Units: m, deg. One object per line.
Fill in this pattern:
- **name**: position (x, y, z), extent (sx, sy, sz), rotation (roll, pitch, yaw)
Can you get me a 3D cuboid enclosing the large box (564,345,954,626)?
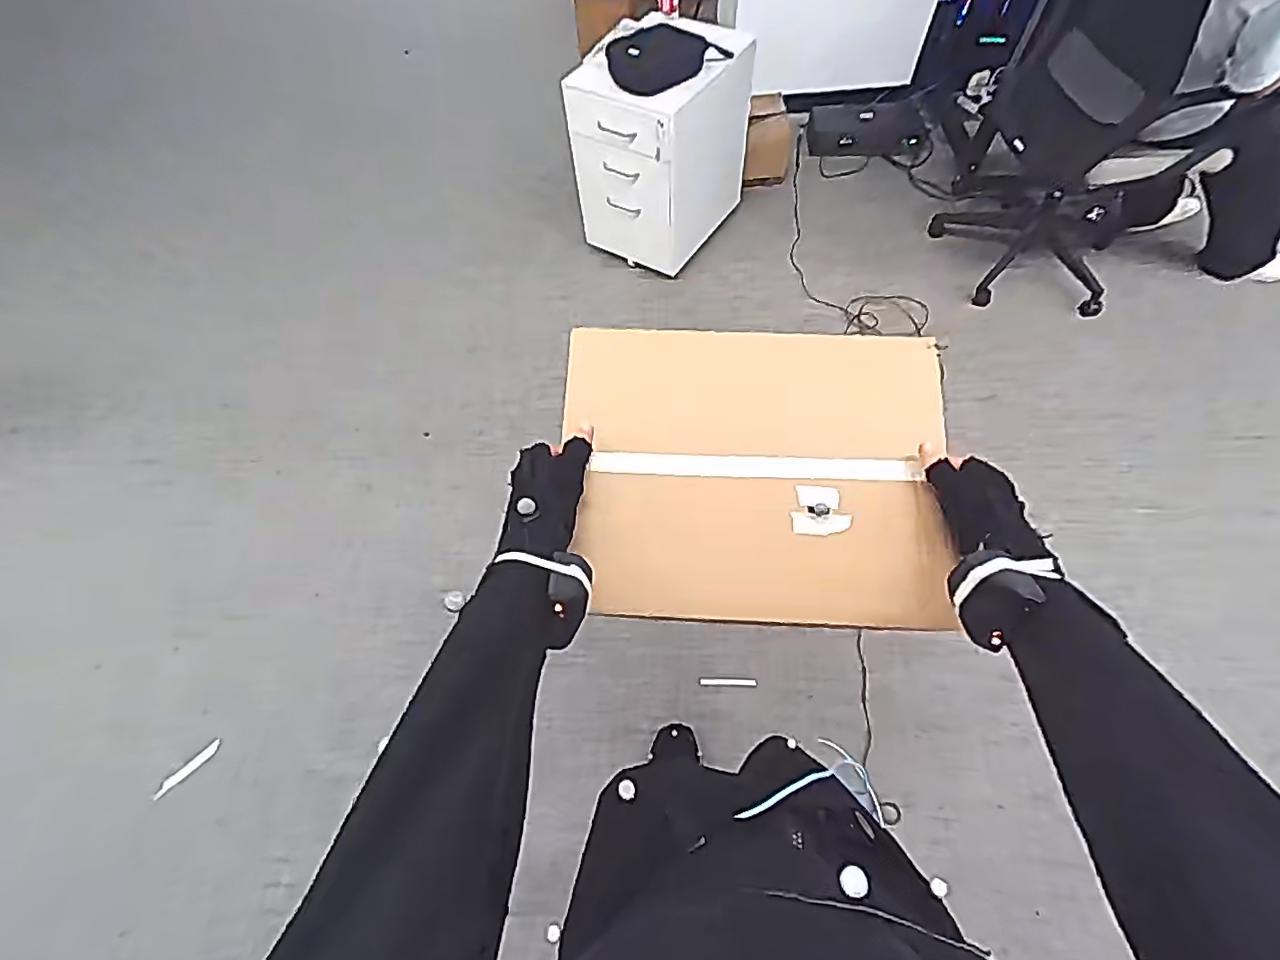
- **large box**: position (0.125, 0.032, 0.729), extent (0.408, 0.320, 0.320), rotation (2, 75, 2)
